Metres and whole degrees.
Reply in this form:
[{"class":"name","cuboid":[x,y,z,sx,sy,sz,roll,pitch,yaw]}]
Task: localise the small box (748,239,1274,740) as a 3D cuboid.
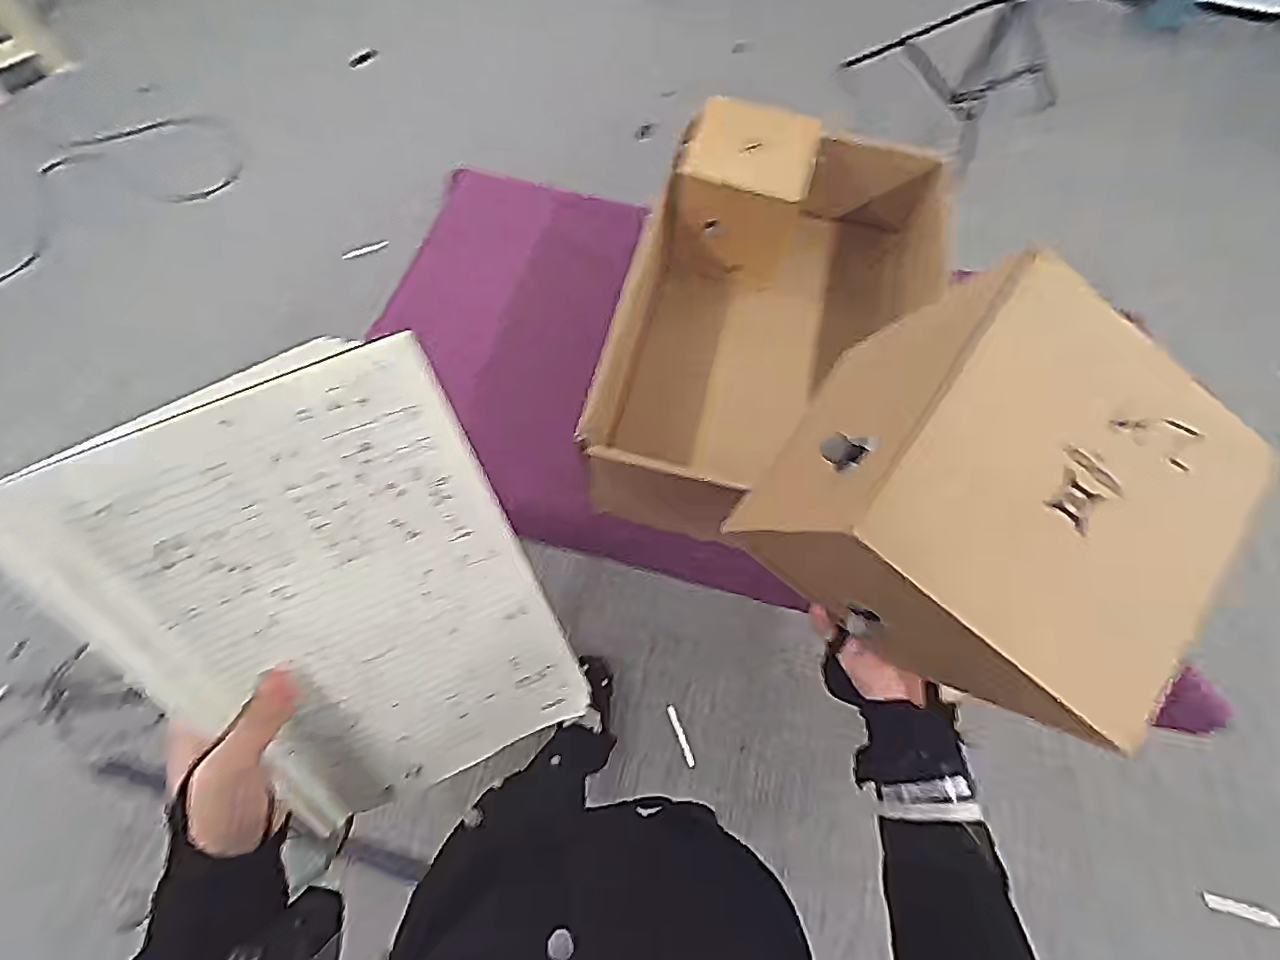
[{"class":"small box","cuboid":[0.188,0.008,0.326,0.168,0.176,0.179,38,78,-5]}]
